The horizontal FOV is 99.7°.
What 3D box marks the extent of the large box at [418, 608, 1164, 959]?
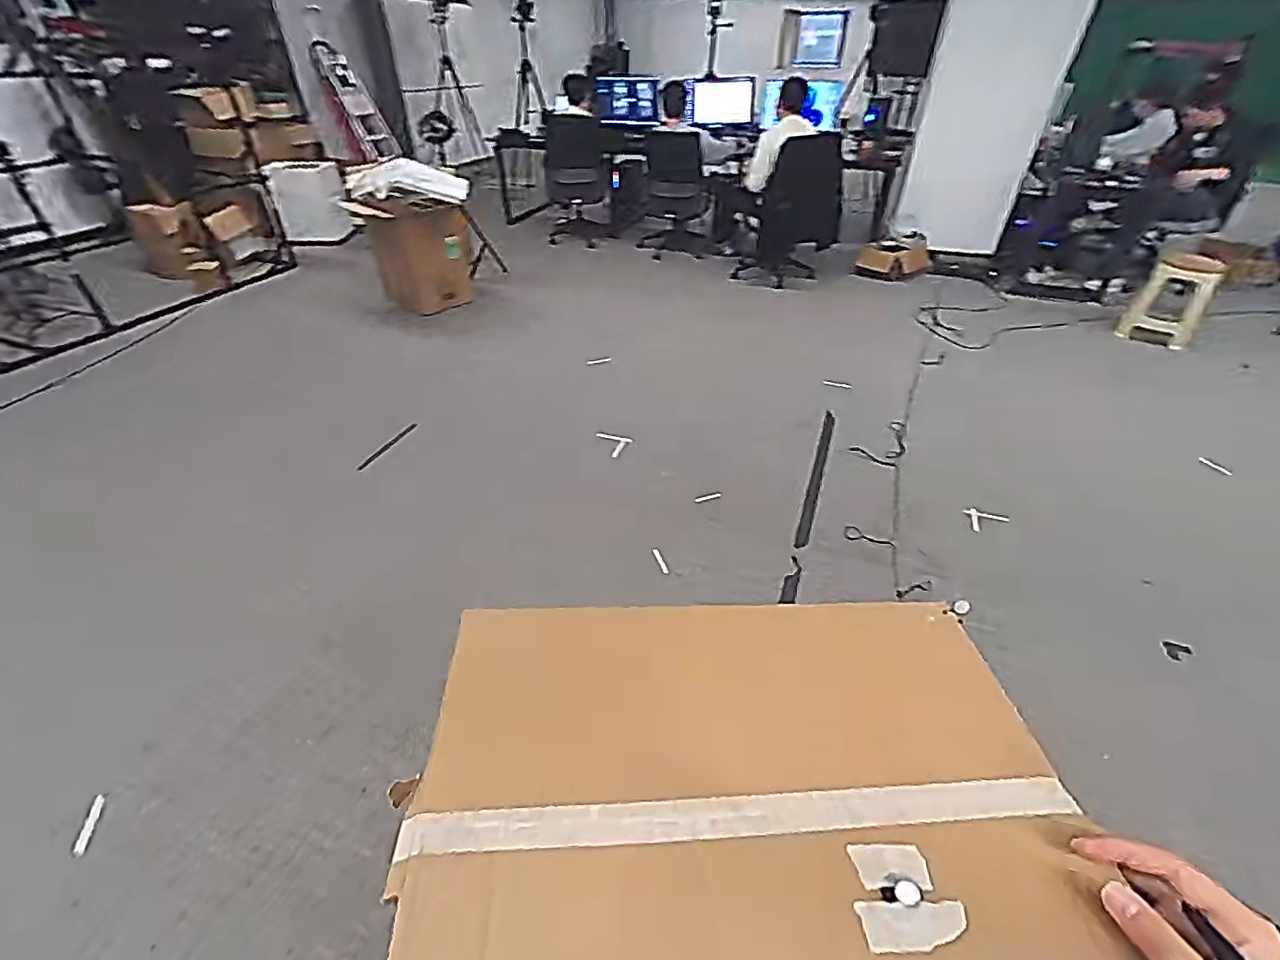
[{"bbox_3d":[0.067,0.320,0.429,0.408,0.320,0.320,2,40,-6],"label":"large box"}]
